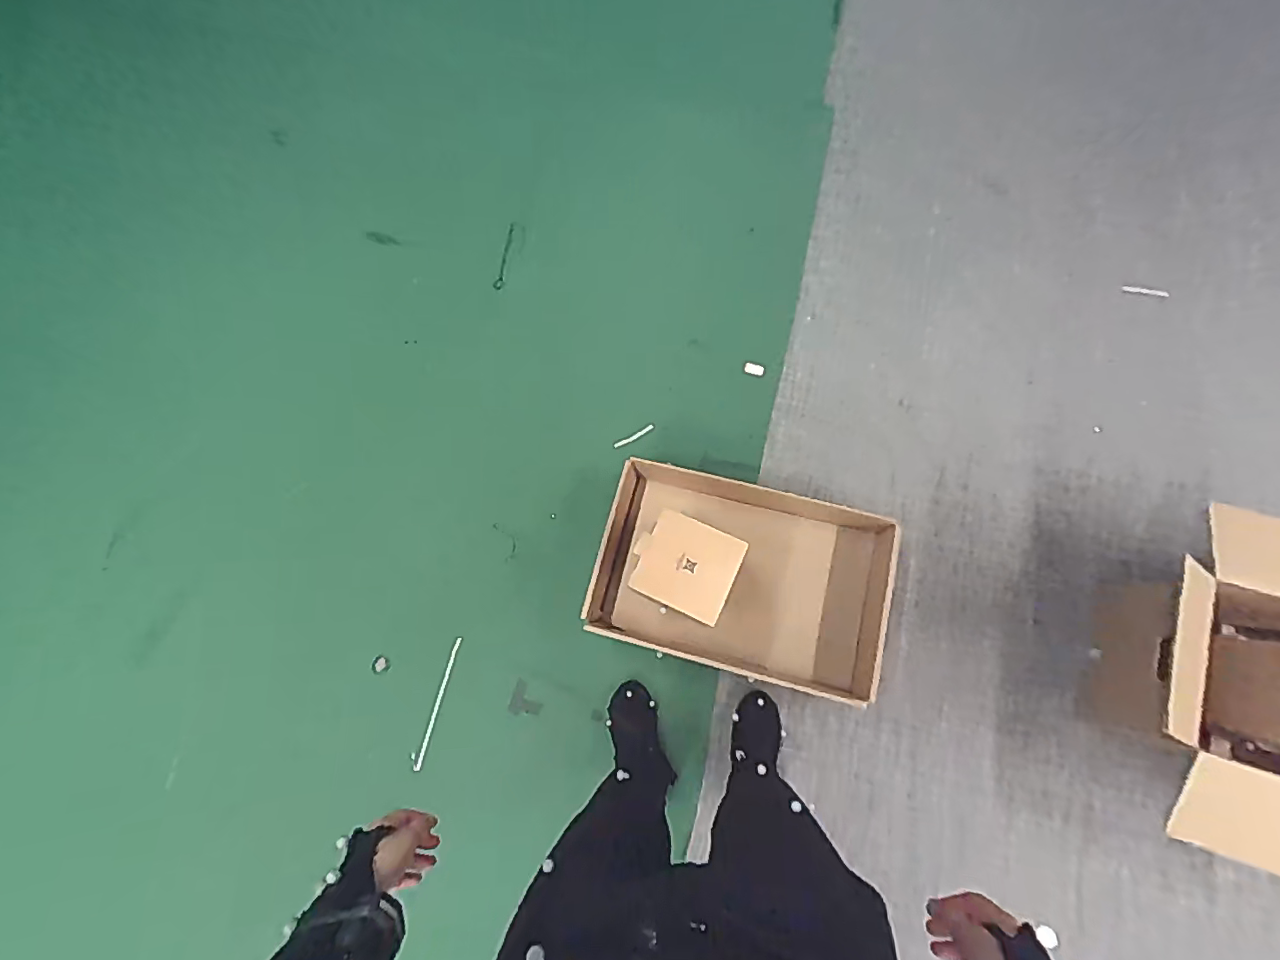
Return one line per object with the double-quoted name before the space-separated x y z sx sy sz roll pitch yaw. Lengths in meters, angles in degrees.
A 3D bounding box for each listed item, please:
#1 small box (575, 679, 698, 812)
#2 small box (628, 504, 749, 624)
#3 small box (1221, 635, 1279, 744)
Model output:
"small box" -0.001 0.564 1.165 0.176 0.168 0.179 51 58 -14
"small box" 0.094 0.168 1.062 0.179 0.176 0.168 23 77 10
"small box" 1.184 0.386 0.939 0.168 0.176 0.179 23 79 7
